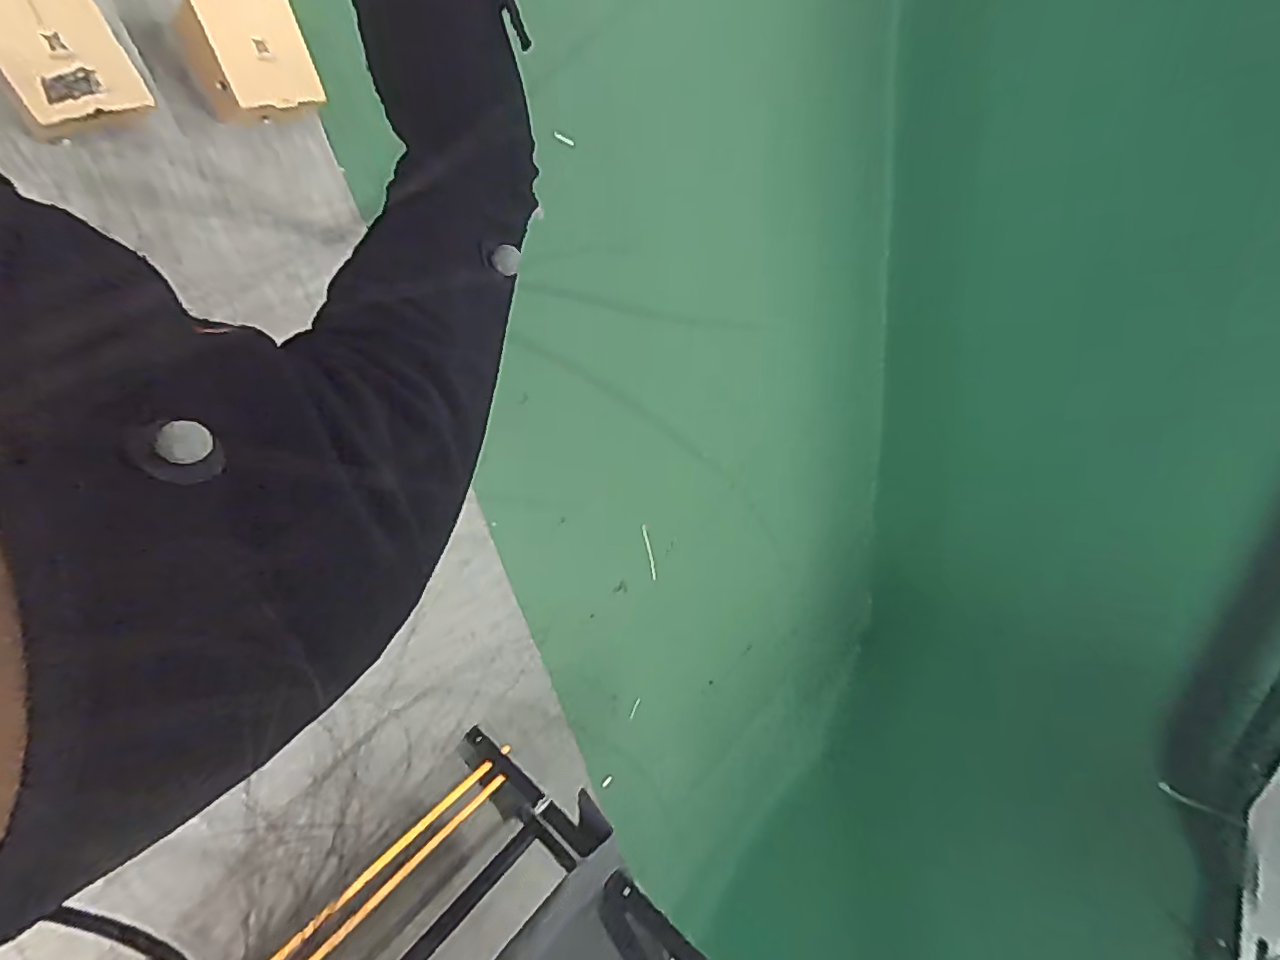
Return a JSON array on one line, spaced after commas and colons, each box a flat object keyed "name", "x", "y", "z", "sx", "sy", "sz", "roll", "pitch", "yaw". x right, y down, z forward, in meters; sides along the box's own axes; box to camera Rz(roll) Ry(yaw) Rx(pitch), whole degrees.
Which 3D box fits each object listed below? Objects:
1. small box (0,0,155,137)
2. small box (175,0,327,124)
[{"name": "small box", "x": -0.953, "y": -0.682, "z": 0.883, "sx": 0.168, "sy": 0.176, "sz": 0.179, "roll": -41, "pitch": 129, "yaw": -32}, {"name": "small box", "x": -0.759, "y": -0.820, "z": 1.054, "sx": 0.168, "sy": 0.176, "sz": 0.179, "roll": -36, "pitch": 128, "yaw": -34}]
